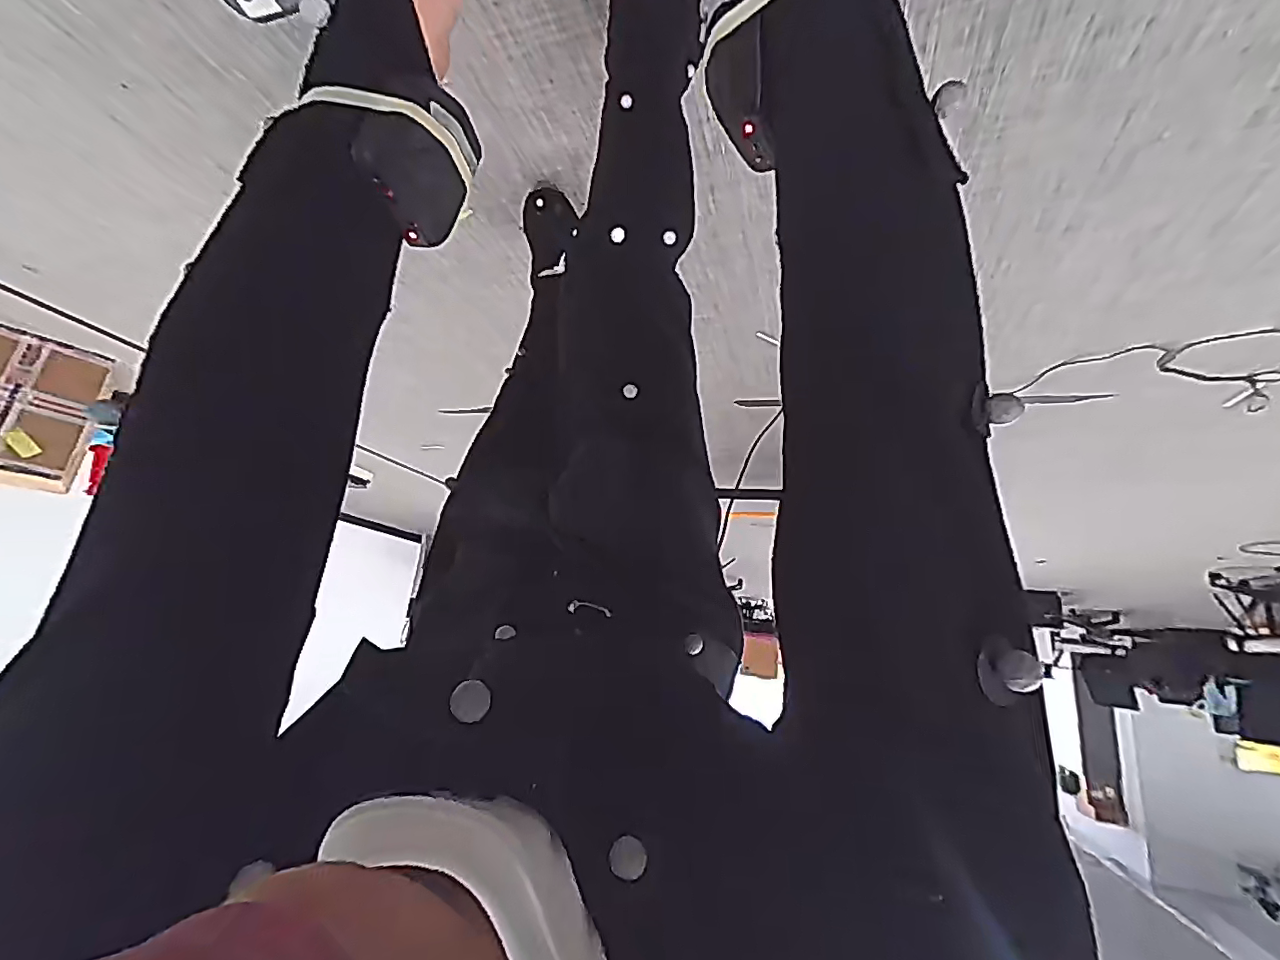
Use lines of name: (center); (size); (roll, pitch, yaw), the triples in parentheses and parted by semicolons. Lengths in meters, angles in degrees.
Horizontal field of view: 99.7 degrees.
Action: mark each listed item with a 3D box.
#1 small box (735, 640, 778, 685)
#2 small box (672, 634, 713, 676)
small box: (0.534, 0.825, 2.454); (0.179, 0.176, 0.168); (1, 163, 19)
small box: (0.255, 0.830, 2.573); (0.168, 0.176, 0.179); (2, 162, 15)
